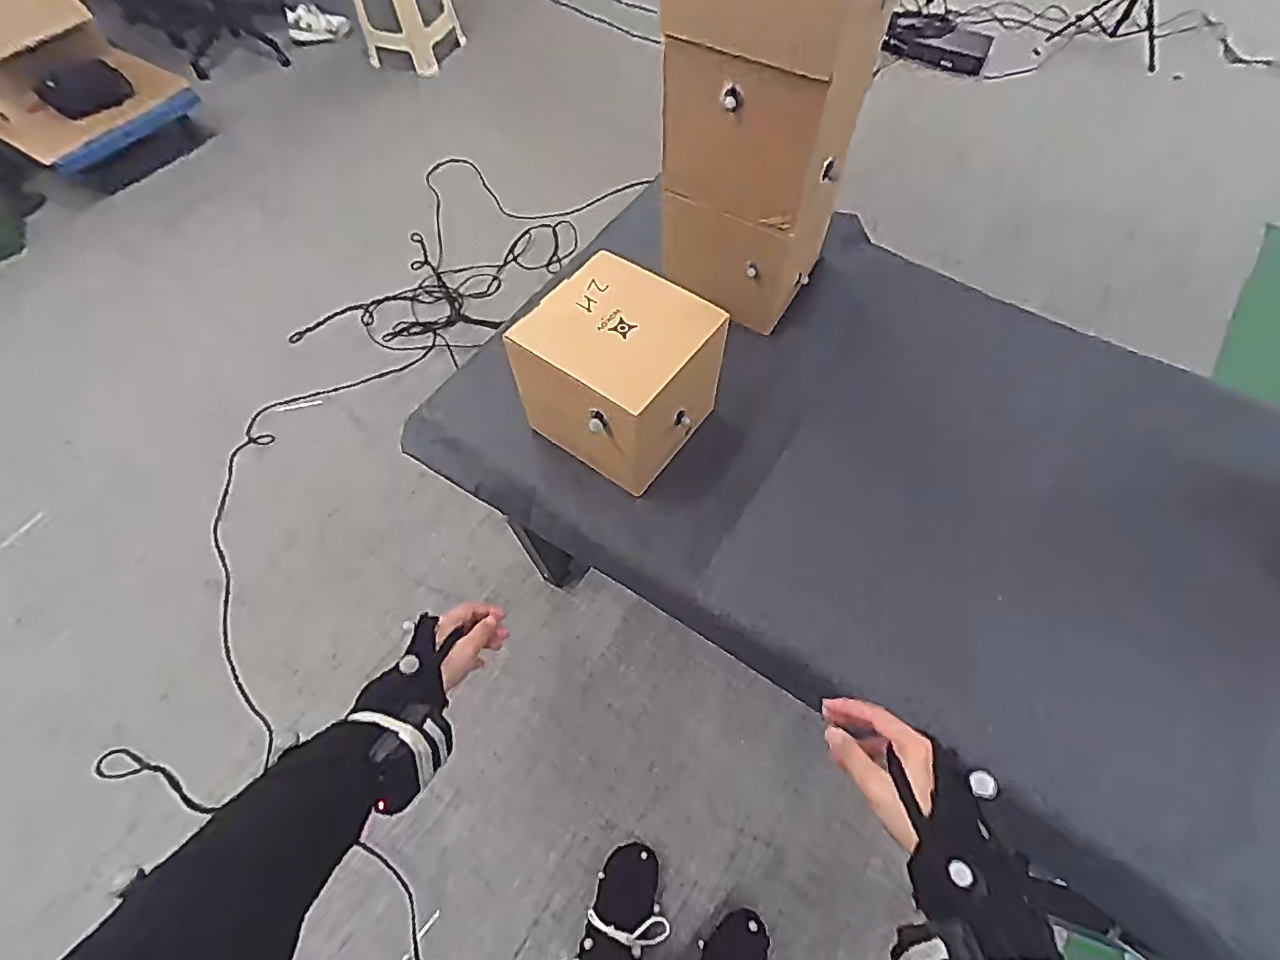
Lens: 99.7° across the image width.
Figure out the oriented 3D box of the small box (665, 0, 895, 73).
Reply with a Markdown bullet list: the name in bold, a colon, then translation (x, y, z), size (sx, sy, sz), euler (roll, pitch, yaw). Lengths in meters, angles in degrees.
- **small box**: translation (0.130, -0.478, 0.443), size (0.179, 0.176, 0.168), euler (30, 70, 15)

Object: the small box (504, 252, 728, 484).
- **small box**: translation (-0.023, -0.118, 0.627), size (0.179, 0.176, 0.168), euler (33, 66, 17)

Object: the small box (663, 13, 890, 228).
- **small box**: translation (0.138, -0.414, 0.595), size (0.179, 0.176, 0.168), euler (28, 69, 14)
